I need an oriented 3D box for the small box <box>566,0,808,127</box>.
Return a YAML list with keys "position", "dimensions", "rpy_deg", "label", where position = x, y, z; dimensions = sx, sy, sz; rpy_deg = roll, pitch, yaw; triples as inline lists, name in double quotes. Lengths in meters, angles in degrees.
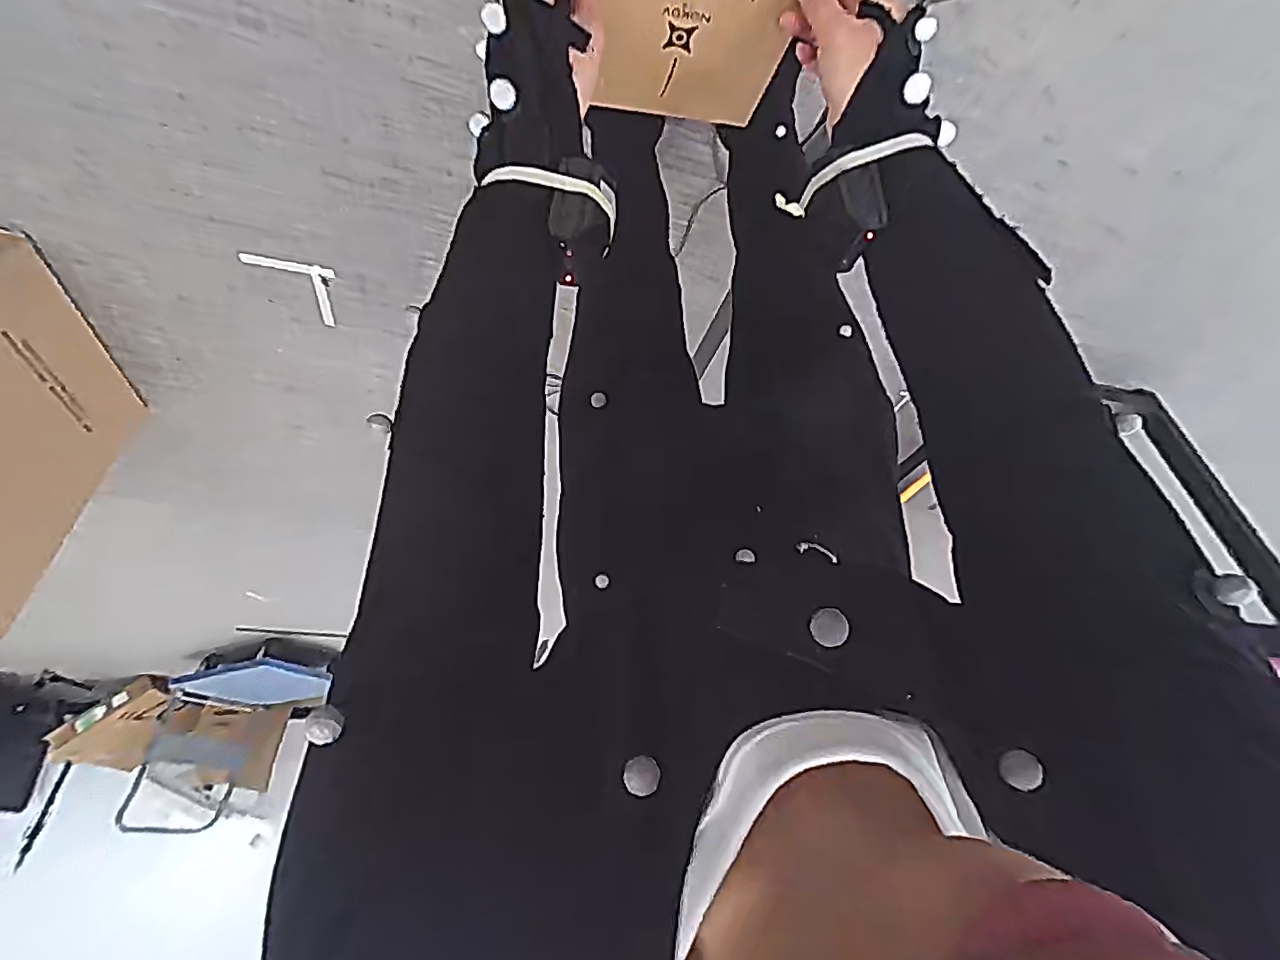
- position: [0.031, -0.417, 0.408]
  dimensions: [0.168, 0.176, 0.179]
  rpy_deg: [1, 174, -11]
  label: "small box"
